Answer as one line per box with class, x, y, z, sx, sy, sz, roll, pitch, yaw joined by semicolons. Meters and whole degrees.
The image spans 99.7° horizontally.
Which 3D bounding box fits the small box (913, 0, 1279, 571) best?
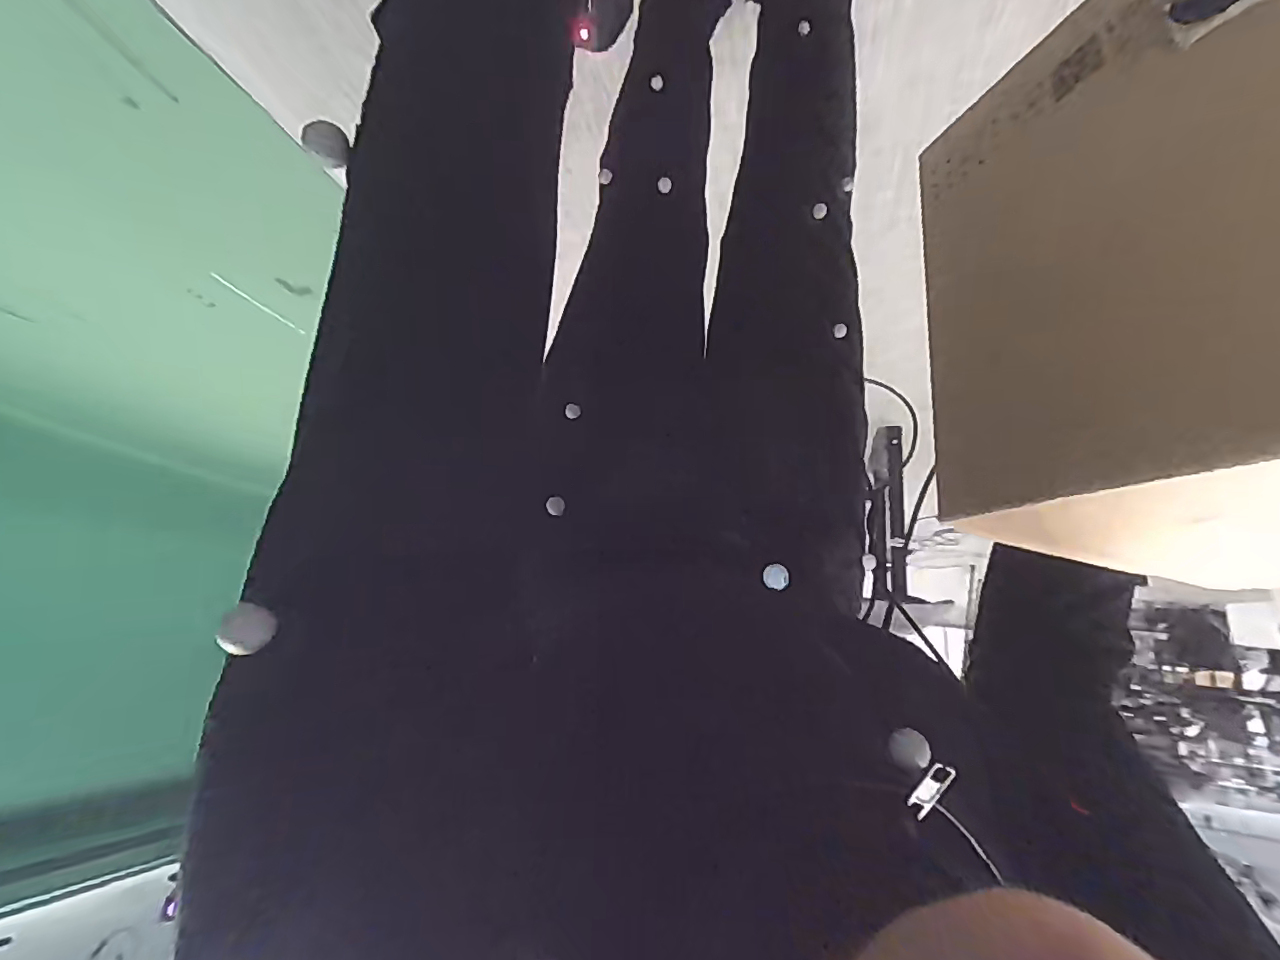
small box;0.217;-0.074;0.171;0.179;0.176;0.168;13;160;-18
